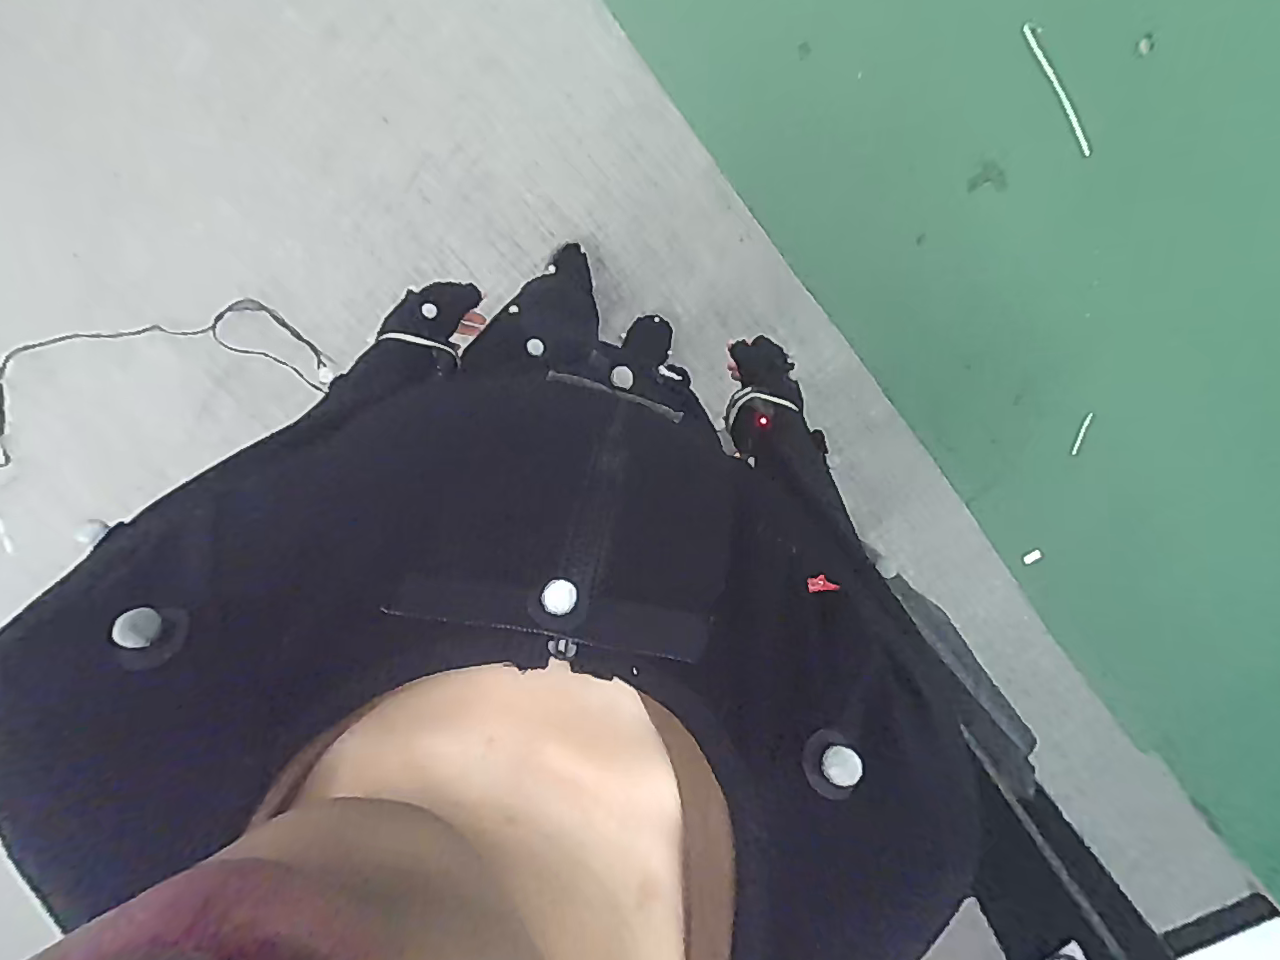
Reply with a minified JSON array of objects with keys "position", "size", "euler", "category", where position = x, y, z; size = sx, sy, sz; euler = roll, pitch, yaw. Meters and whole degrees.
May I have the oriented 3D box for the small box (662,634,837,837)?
[{"position":[0.149,0.363,0.789],"size":[0.168,0.176,0.179],"euler":[-42,104,14],"category":"small box"}]
